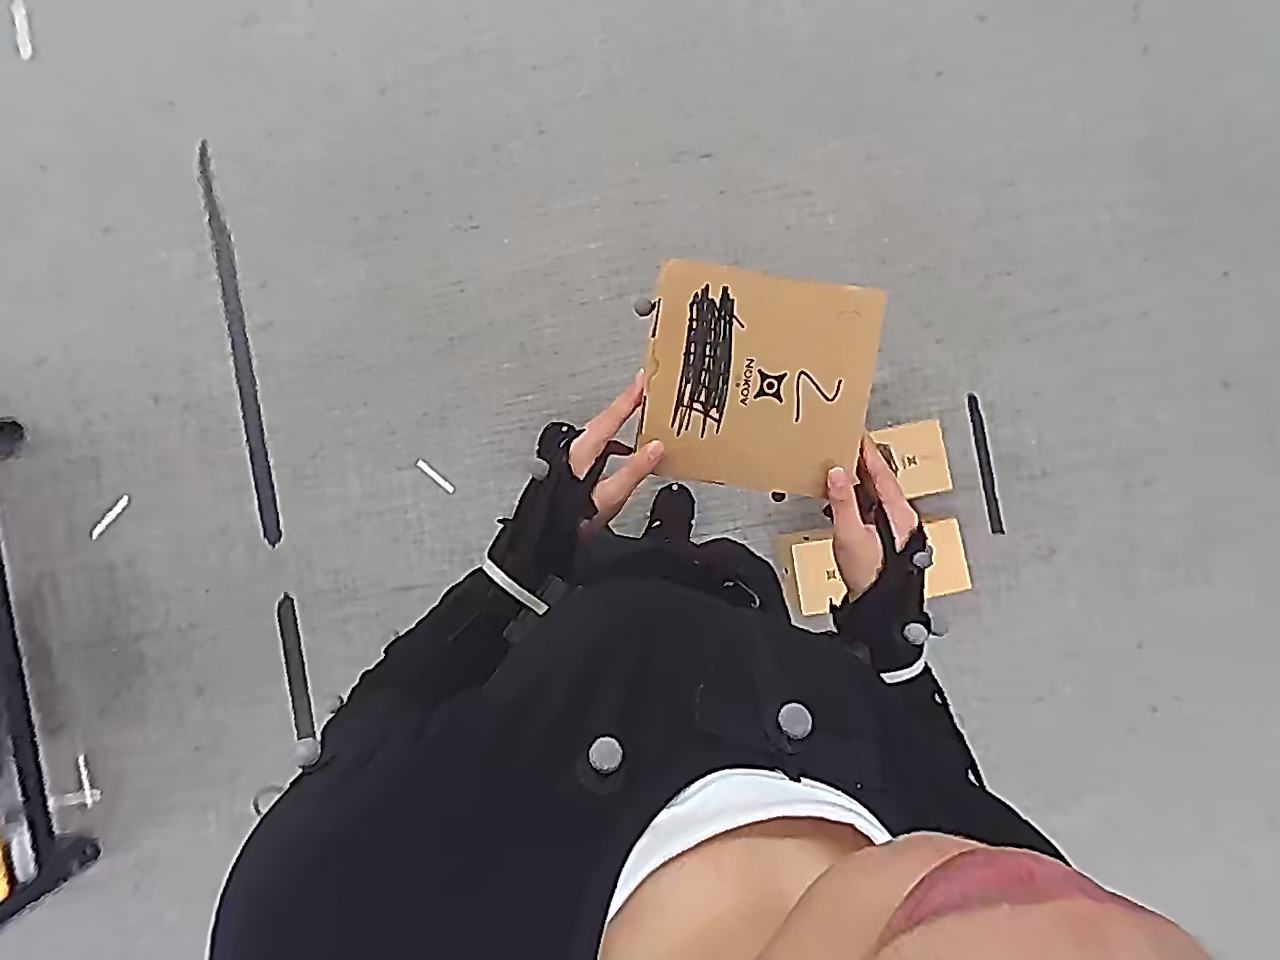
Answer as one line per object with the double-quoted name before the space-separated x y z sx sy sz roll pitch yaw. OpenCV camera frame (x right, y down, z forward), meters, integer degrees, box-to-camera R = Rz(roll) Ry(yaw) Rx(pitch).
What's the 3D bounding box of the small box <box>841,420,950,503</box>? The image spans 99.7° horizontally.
"small box" 0.601 -0.041 1.298 0.179 0.176 0.168 -11 91 0
